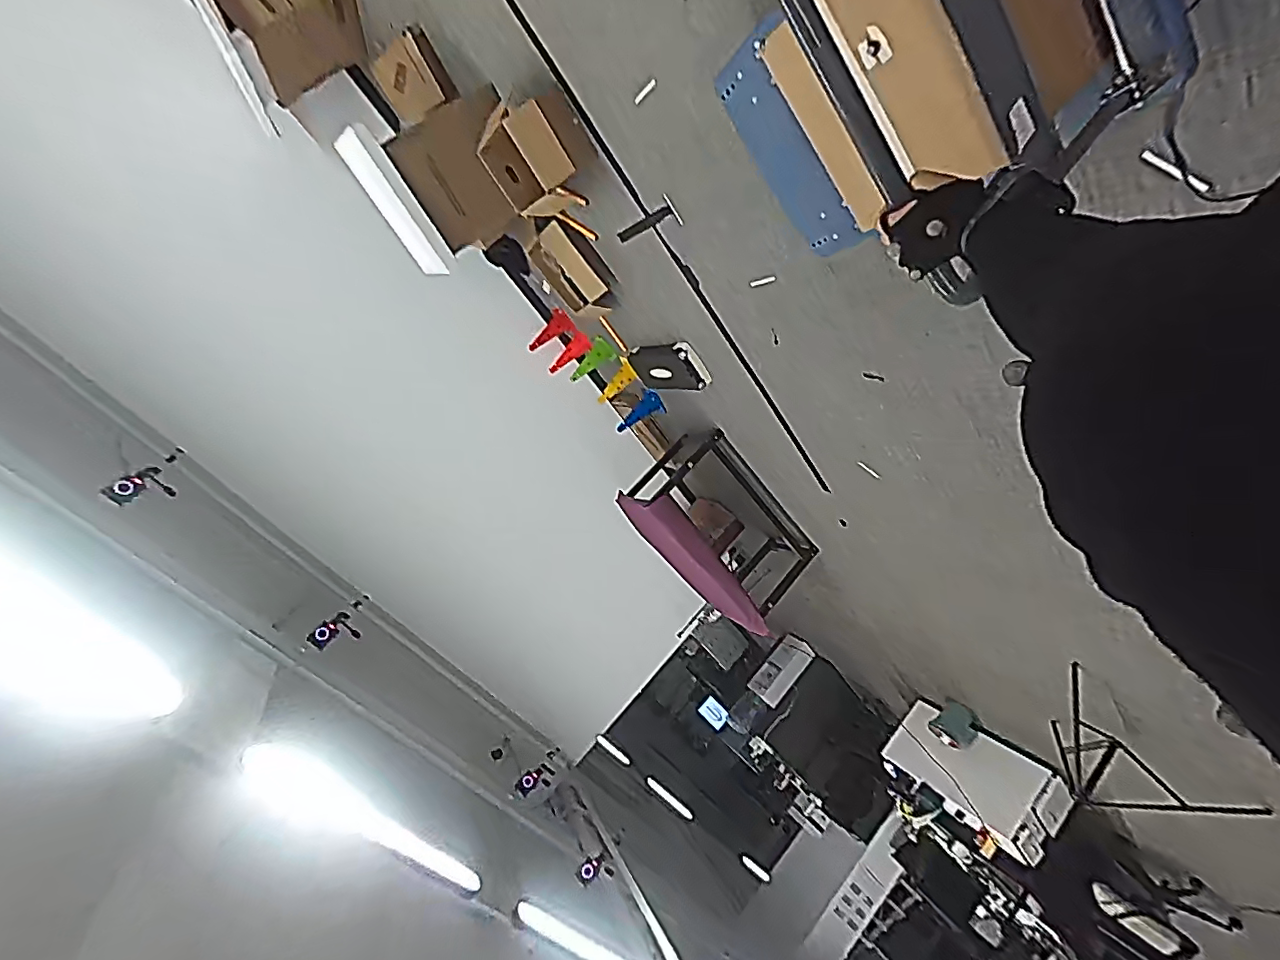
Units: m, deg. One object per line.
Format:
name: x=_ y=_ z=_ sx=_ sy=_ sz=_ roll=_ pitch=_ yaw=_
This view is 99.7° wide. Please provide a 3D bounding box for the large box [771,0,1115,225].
large box: x=0.525 y=-0.761 z=0.959 sx=0.408 sy=0.320 sz=0.320 roll=50 pitch=164 yaw=-17
